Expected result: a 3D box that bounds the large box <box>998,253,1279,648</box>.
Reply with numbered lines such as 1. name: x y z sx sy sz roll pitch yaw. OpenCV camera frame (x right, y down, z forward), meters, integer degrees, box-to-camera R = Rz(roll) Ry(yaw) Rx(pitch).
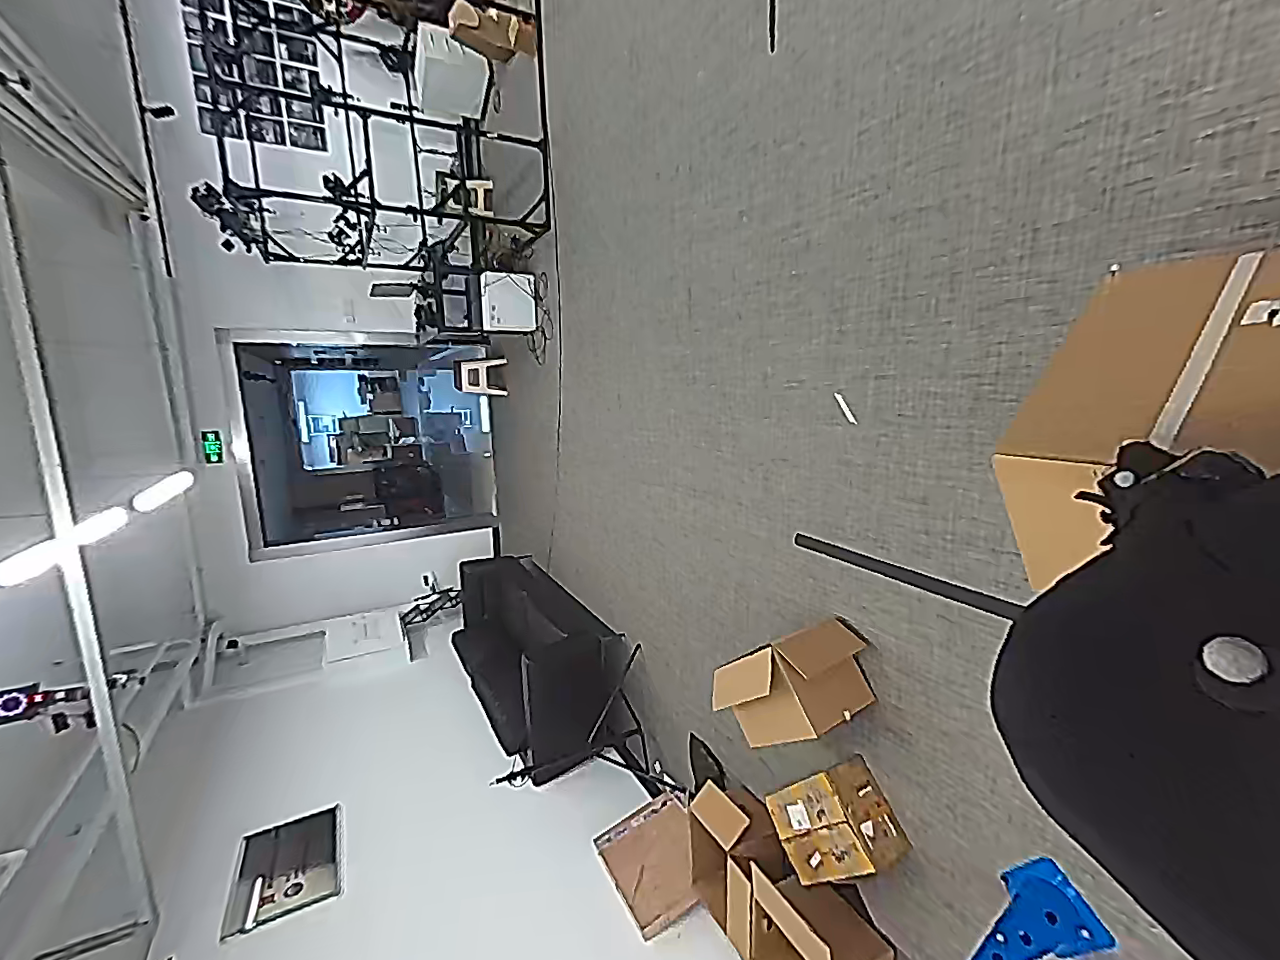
1. large box: 0.765 -0.049 0.729 0.320 0.408 0.320 16 149 56
